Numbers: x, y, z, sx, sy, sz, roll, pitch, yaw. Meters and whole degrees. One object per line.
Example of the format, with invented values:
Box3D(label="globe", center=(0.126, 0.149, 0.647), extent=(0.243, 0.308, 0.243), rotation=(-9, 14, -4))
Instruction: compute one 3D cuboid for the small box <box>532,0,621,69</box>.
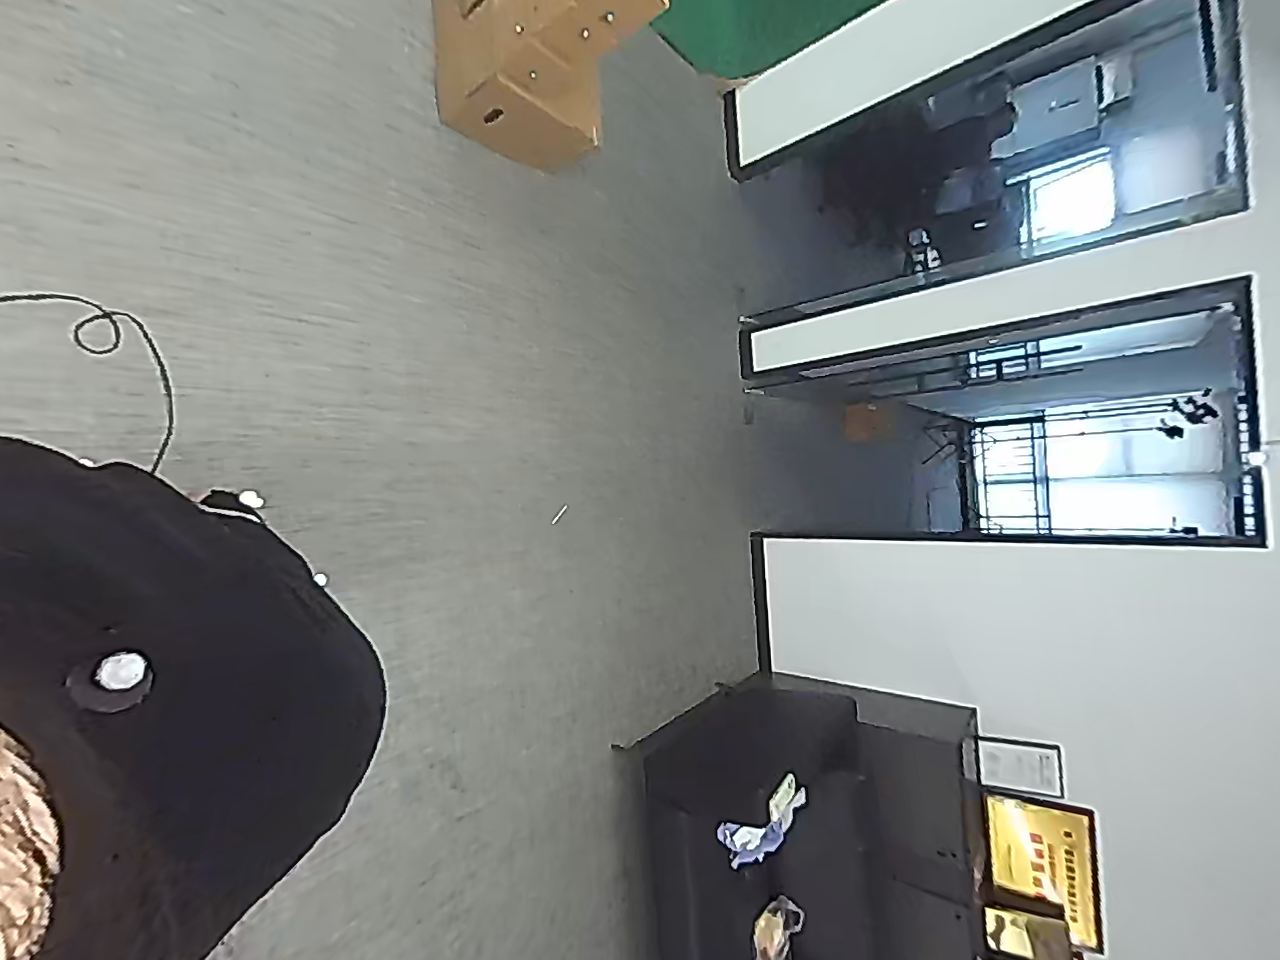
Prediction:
Box3D(label="small box", center=(-0.169, -1.257, 1.451), extent=(0.179, 0.176, 0.168), rotation=(-1, 90, -50))

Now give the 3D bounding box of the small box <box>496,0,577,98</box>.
Box3D(label="small box", center=(-0.298, -1.250, 1.551), extent=(0.168, 0.176, 0.179), rotation=(-2, 89, -52))

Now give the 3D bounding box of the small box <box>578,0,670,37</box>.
Box3D(label="small box", center=(-0.042, -1.262, 1.346), extent=(0.179, 0.176, 0.168), rotation=(-1, 89, -51))
